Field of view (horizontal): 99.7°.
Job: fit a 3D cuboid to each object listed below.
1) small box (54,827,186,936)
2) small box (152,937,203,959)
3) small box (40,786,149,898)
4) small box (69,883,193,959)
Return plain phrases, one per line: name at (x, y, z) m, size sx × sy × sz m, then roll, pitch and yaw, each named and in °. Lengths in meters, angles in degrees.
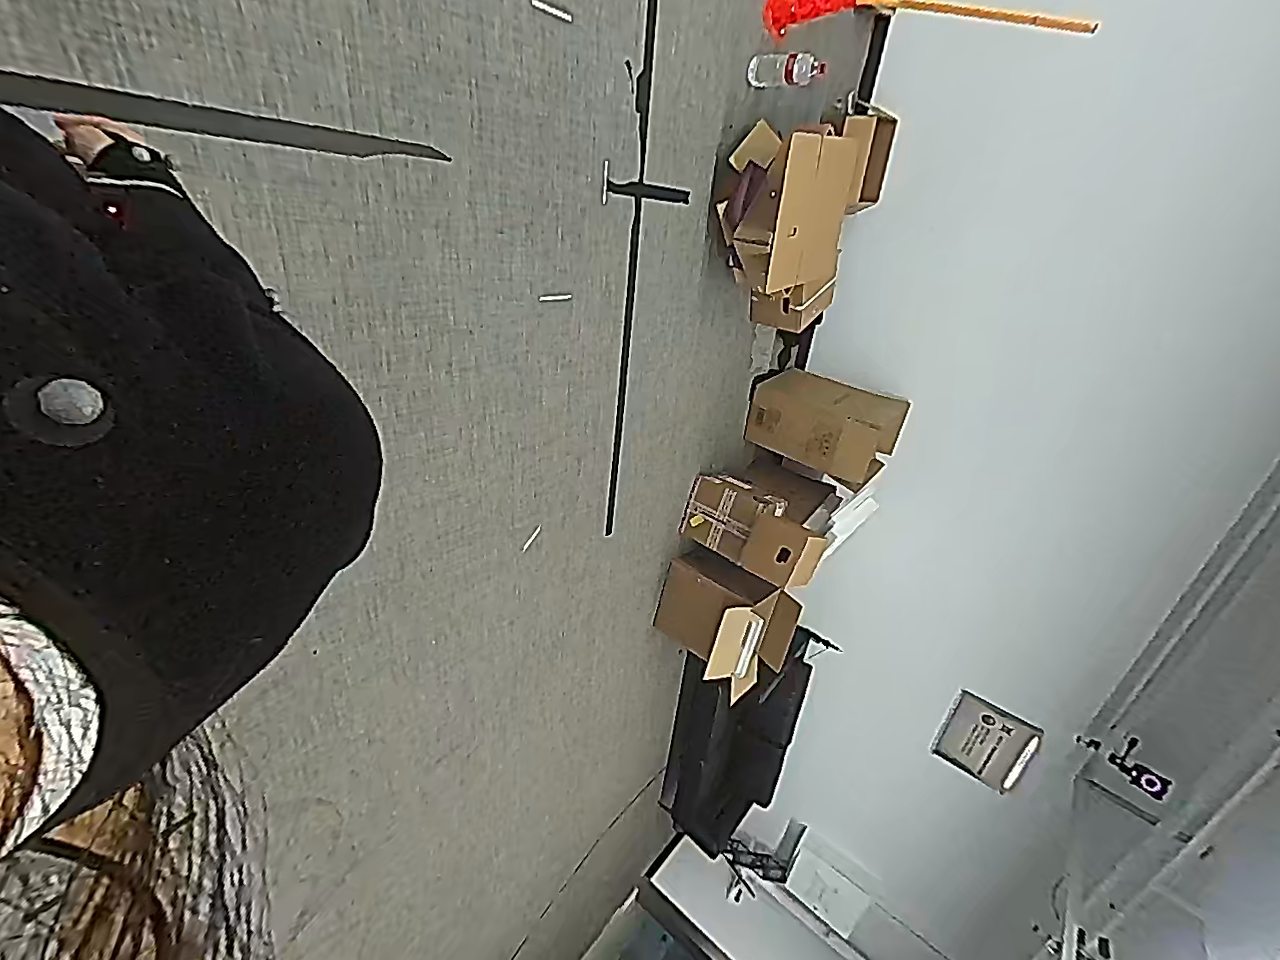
small box at (-1.235, 0.985, 1.288) m, size 0.179 × 0.176 × 0.168 m, roll -24°, pitch 129°, yaw -48°
small box at (-0.984, 1.109, 1.117) m, size 0.168 × 0.176 × 0.179 m, roll -26°, pitch 132°, yaw -47°
small box at (-1.367, 0.932, 1.370) m, size 0.179 × 0.176 × 0.168 m, roll -26°, pitch 132°, yaw -46°
small box at (-1.114, 1.049, 1.199) m, size 0.168 × 0.176 × 0.179 m, roll -24°, pitch 129°, yaw -47°
